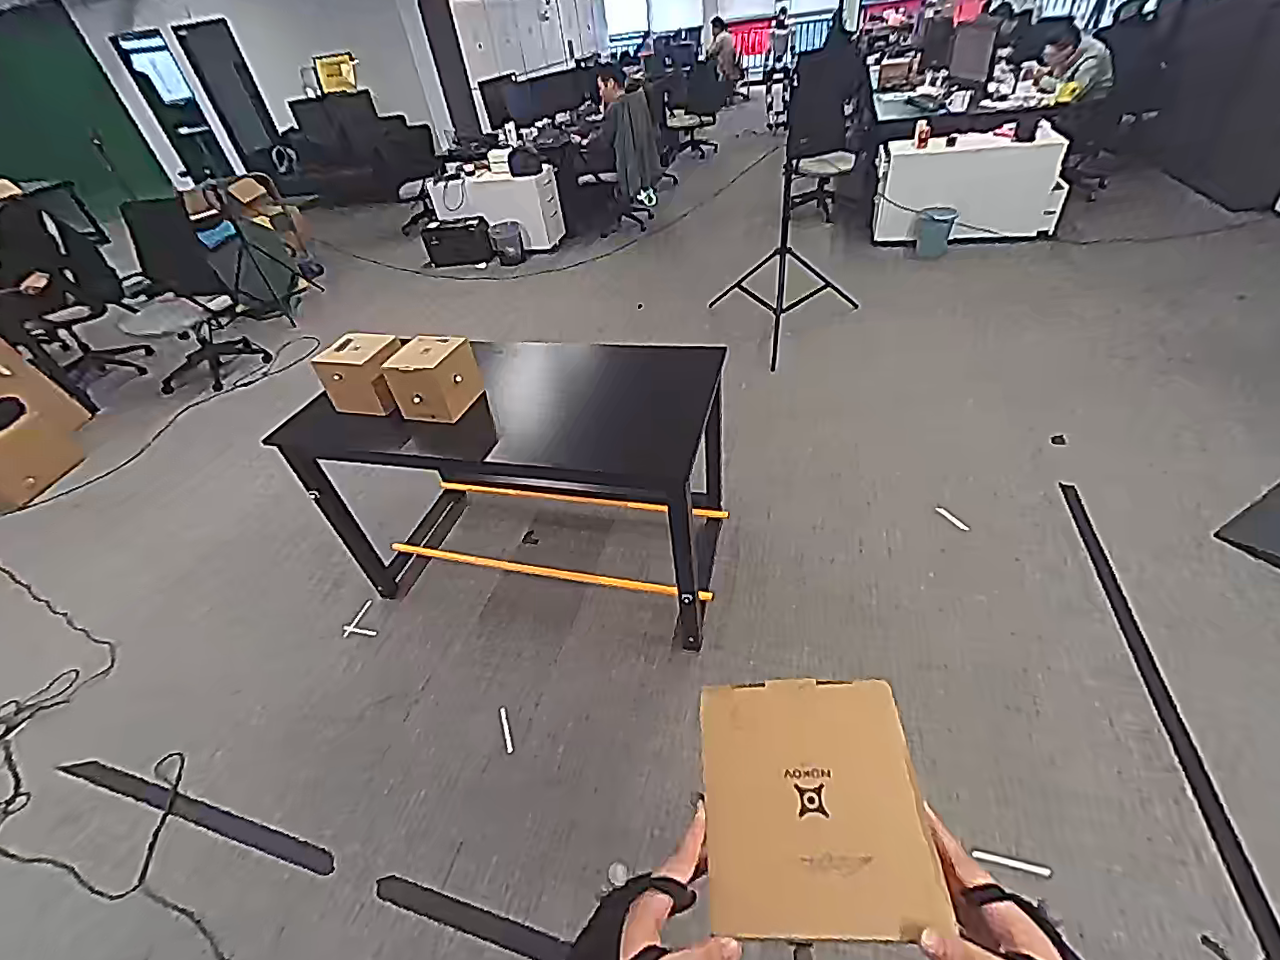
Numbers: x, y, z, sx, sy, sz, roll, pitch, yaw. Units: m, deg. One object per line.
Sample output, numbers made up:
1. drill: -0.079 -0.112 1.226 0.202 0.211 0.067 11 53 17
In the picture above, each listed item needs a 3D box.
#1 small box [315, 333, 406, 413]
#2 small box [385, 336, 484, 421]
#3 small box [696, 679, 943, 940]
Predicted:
1. small box: -0.778 -0.307 1.560 0.179 0.176 0.168 6 43 15
2. small box: -0.556 -0.279 1.494 0.168 0.176 0.179 6 43 16
3. small box: 0.138 0.297 0.487 0.168 0.176 0.179 -4 50 7
